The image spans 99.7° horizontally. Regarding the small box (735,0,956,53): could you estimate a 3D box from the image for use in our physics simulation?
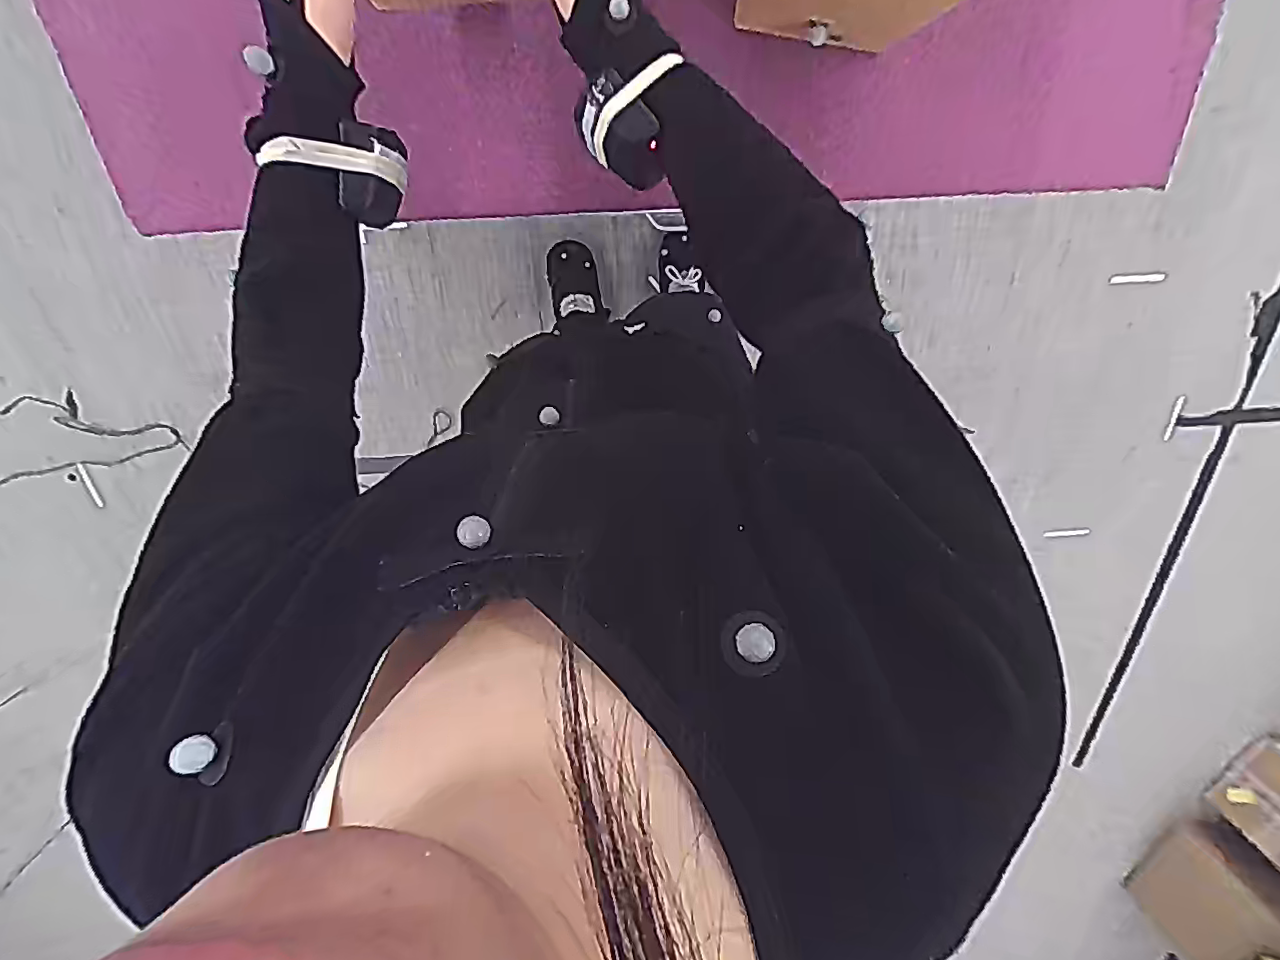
[{"bbox_3d":[0.190,-0.512,0.467,0.168,0.176,0.179,5,115,-7],"label":"small box"}]
